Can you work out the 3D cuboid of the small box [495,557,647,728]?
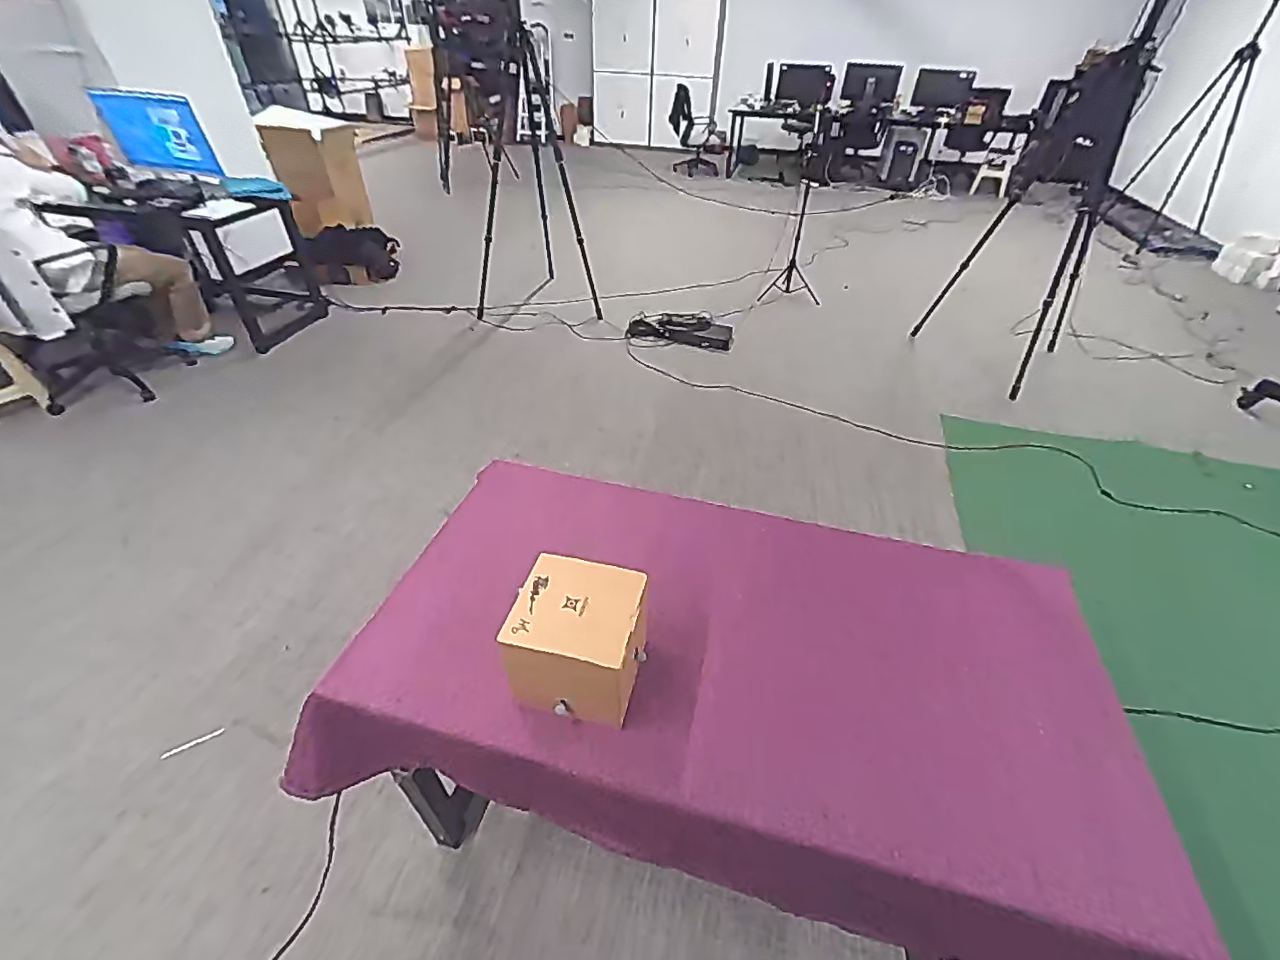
[{"bbox_3d":[-0.095,0.247,0.817,0.179,0.176,0.168,11,40,9],"label":"small box"}]
